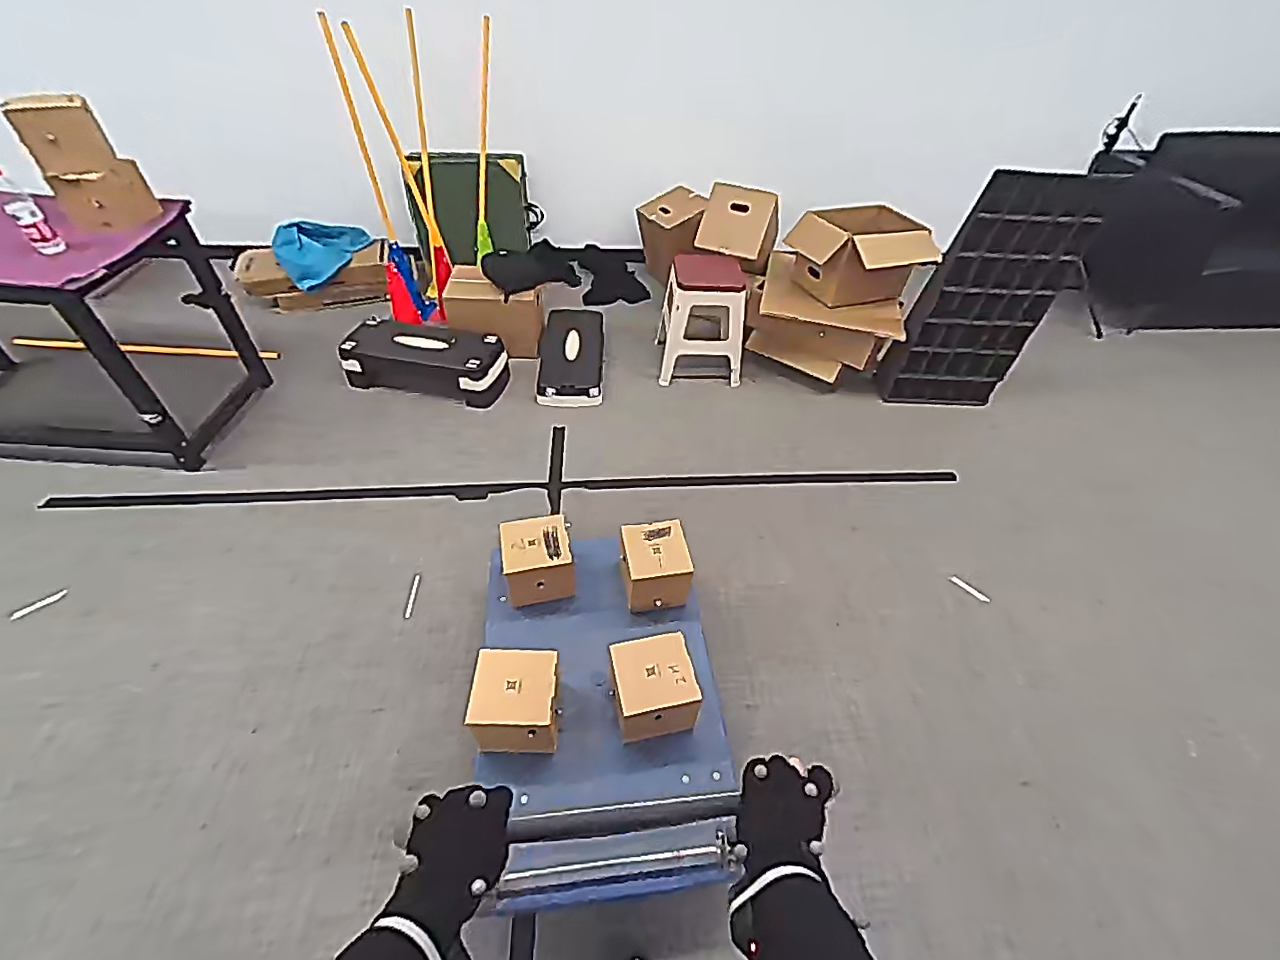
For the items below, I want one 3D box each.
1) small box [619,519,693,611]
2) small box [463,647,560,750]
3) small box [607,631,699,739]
[{"bbox_3d":[0.037,0.232,1.479,0.168,0.176,0.179,-6,48,-9],"label":"small box"},{"bbox_3d":[-0.278,0.491,1.211,0.179,0.176,0.168,3,46,-3],"label":"small box"},{"bbox_3d":[0.025,0.475,1.246,0.179,0.176,0.168,-7,47,-10],"label":"small box"}]
